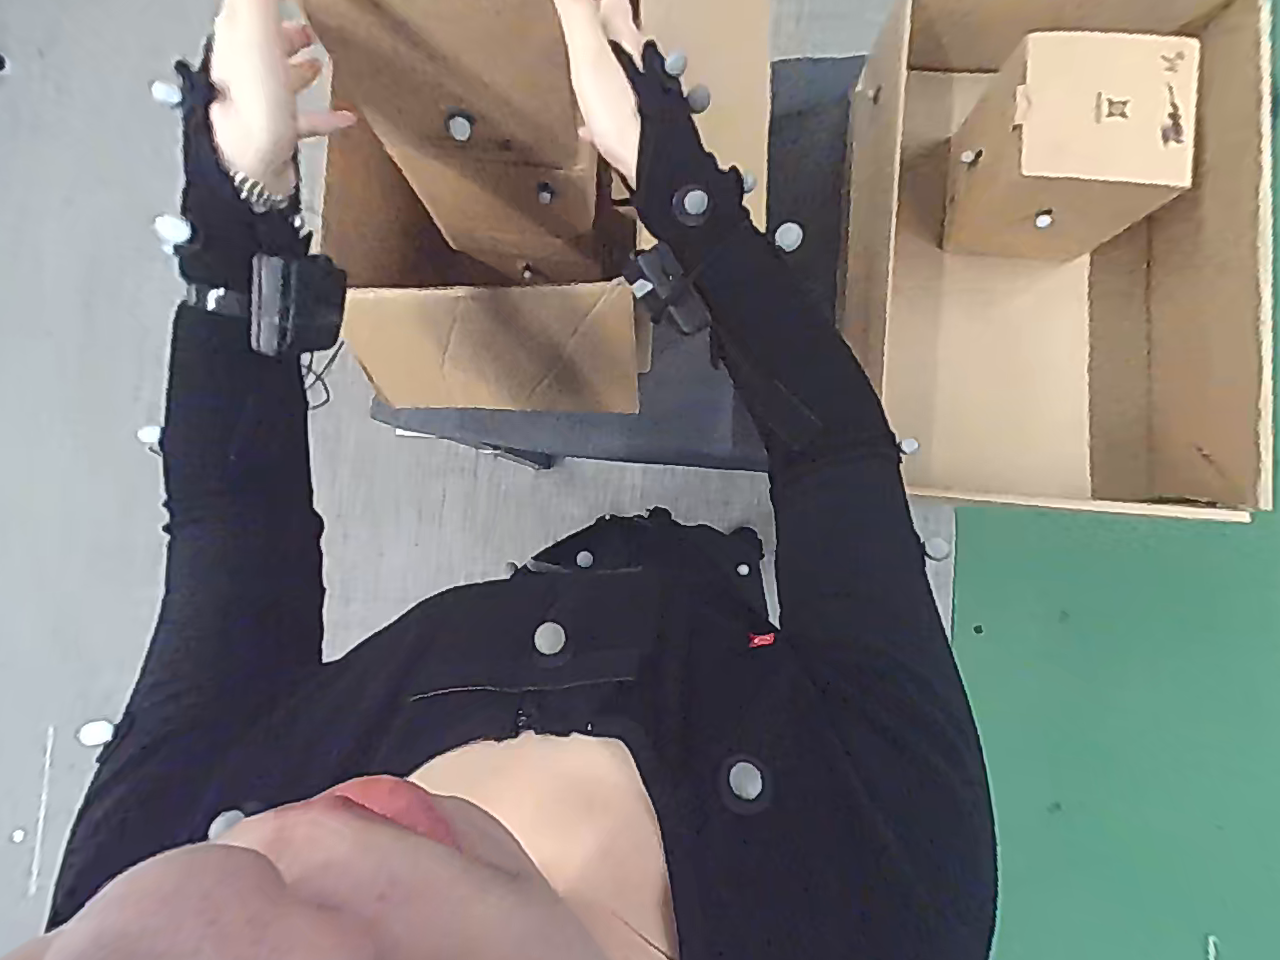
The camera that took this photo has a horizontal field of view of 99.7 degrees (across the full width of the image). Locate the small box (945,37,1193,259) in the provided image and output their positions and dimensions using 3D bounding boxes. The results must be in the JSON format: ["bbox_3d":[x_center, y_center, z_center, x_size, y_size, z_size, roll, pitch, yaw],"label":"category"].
[{"bbox_3d":[0.498,-0.387,0.655,0.179,0.176,0.168,6,87,5],"label":"small box"}]

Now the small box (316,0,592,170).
[{"bbox_3d":[-0.124,-0.366,0.394,0.168,0.176,0.179,2,85,-1],"label":"small box"}]
